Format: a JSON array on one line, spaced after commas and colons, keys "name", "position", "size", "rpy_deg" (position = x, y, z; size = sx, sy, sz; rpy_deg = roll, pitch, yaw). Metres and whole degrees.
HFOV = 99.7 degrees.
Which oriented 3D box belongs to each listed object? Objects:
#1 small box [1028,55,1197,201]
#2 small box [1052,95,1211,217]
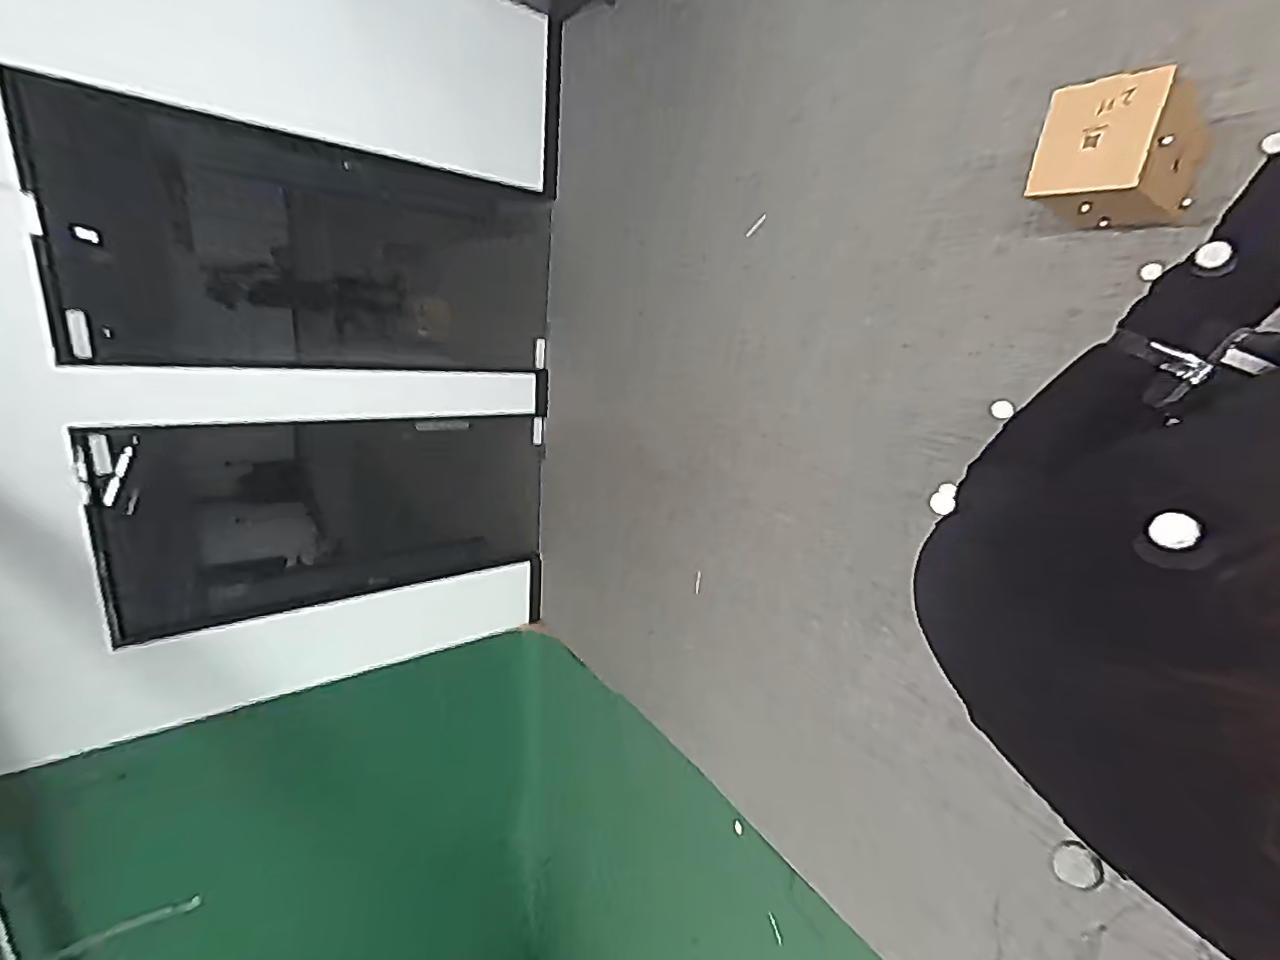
[{"name": "small box", "position": [0.835, -0.603, 0.957], "size": [0.168, 0.176, 0.179], "rpy_deg": [27, 118, 47]}, {"name": "small box", "position": [0.962, -0.622, 1.060], "size": [0.179, 0.176, 0.168], "rpy_deg": [28, 118, 49]}]
